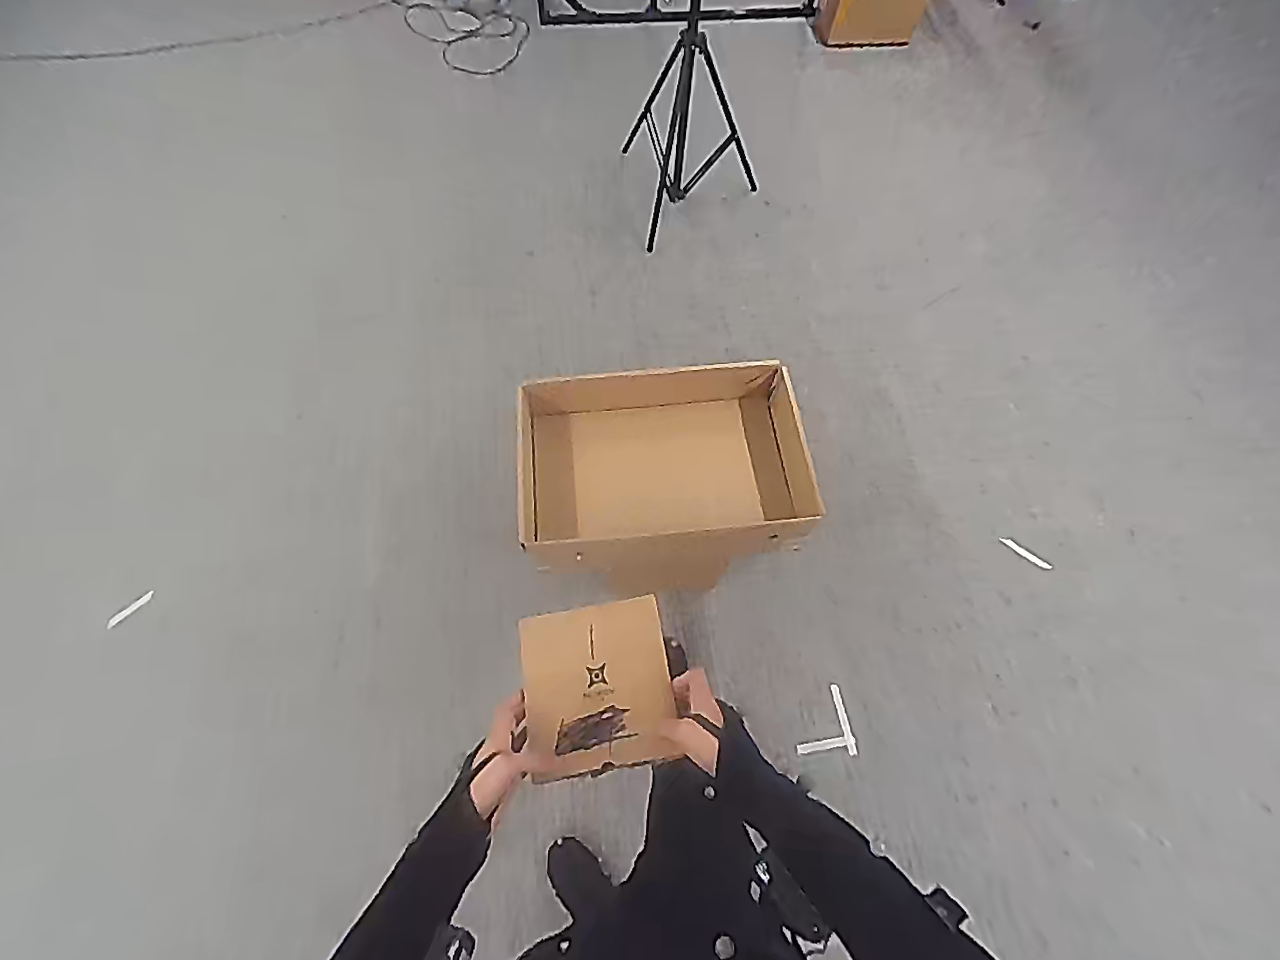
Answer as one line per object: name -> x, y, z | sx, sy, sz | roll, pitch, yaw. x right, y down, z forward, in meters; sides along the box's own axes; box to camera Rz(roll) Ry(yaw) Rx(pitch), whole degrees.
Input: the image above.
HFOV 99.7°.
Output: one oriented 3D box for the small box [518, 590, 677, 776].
small box -> -0.046, 0.251, 0.677 | 0.168, 0.176, 0.179 | -10, 66, -1
